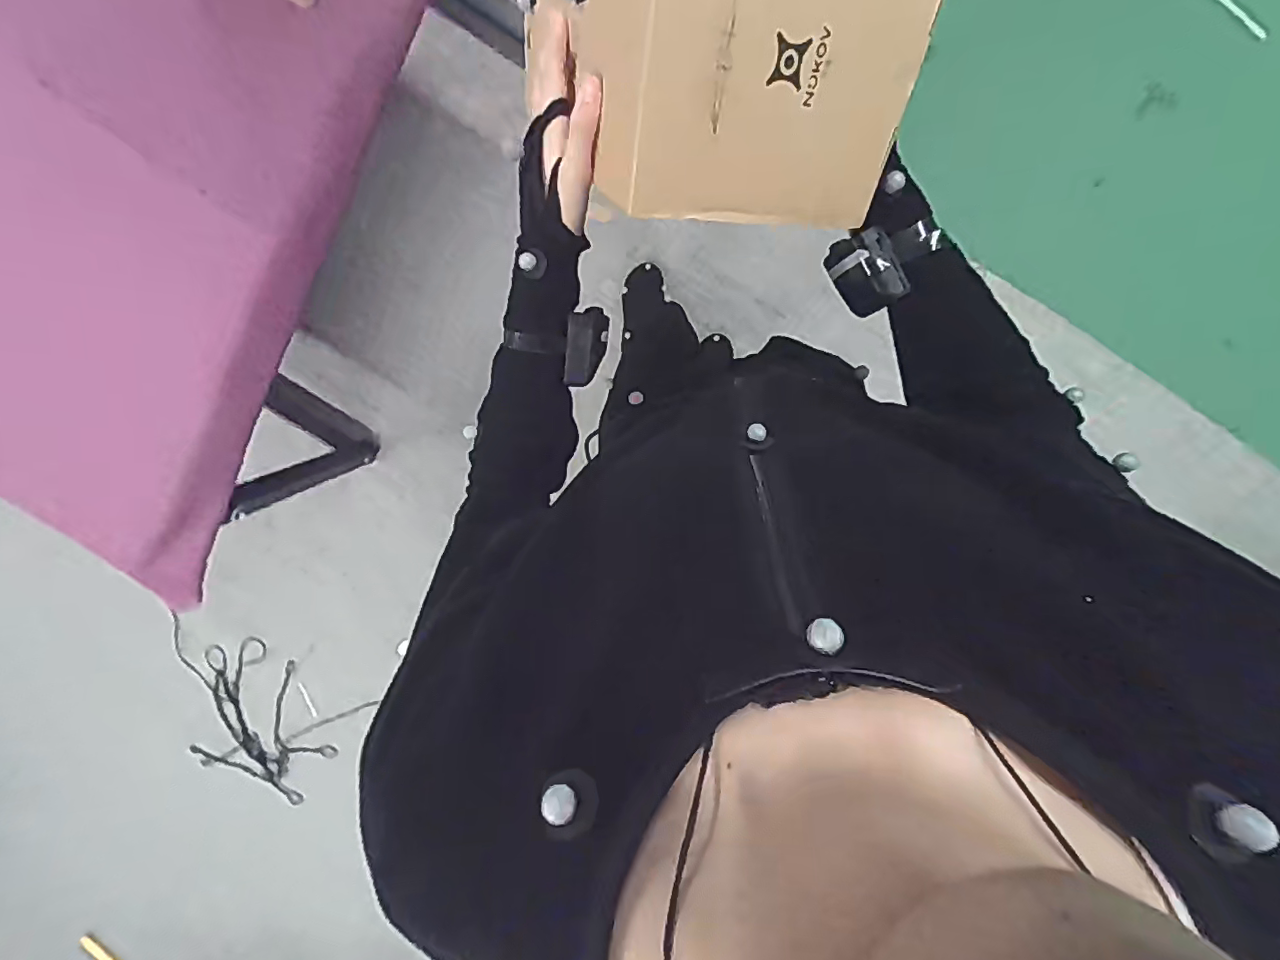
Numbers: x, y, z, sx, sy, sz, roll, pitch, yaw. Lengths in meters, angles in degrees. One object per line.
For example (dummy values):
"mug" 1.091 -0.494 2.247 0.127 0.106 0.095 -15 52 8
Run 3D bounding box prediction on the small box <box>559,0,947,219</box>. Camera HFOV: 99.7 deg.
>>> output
"small box" 0.057 -0.281 0.343 0.179 0.176 0.168 -6 129 -21
